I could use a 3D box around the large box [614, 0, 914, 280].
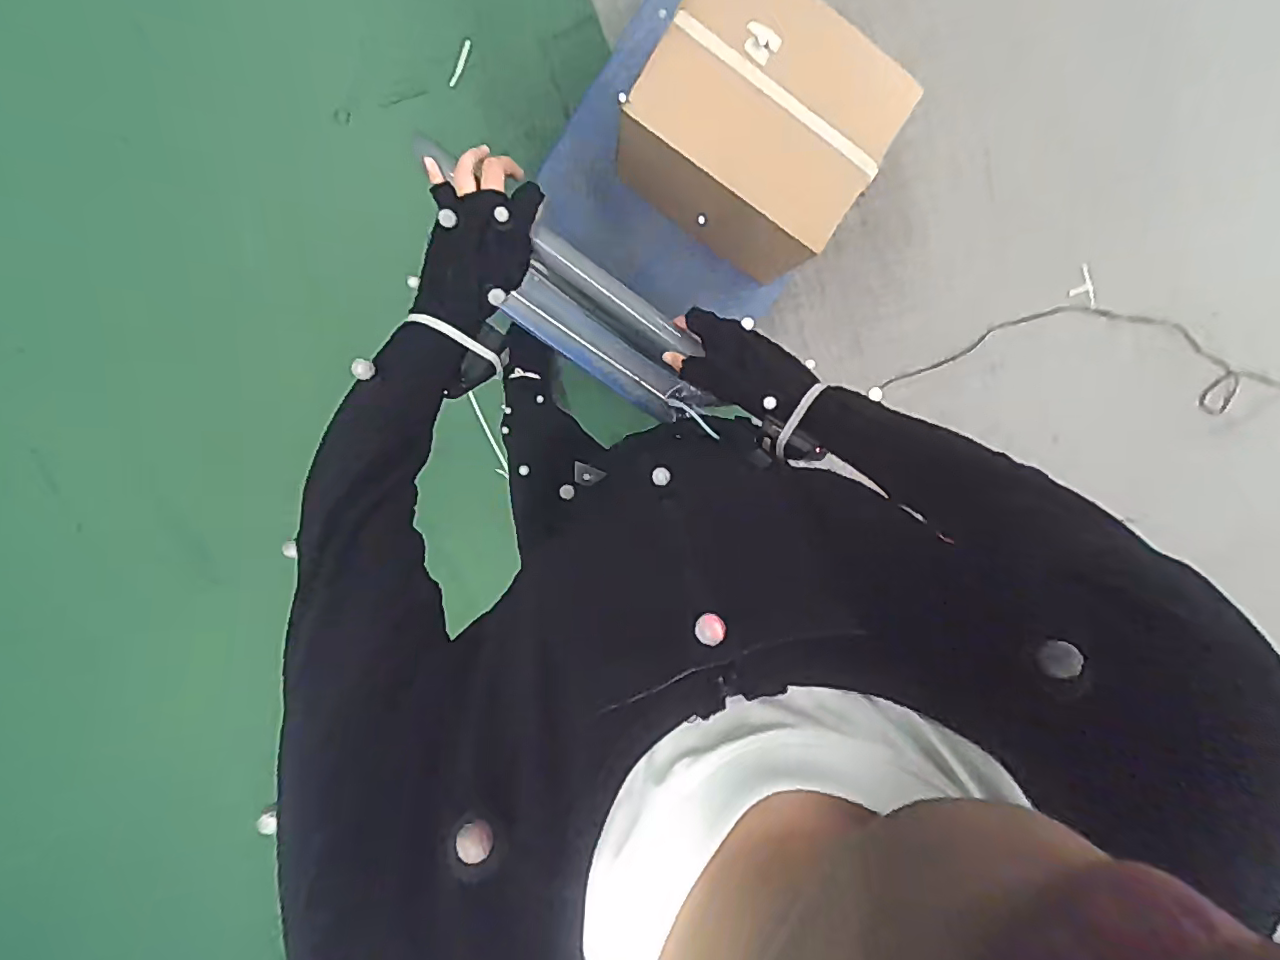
[{"bbox_3d":[0.199,-0.642,1.023,0.408,0.320,0.320,32,96,-8],"label":"large box"}]
